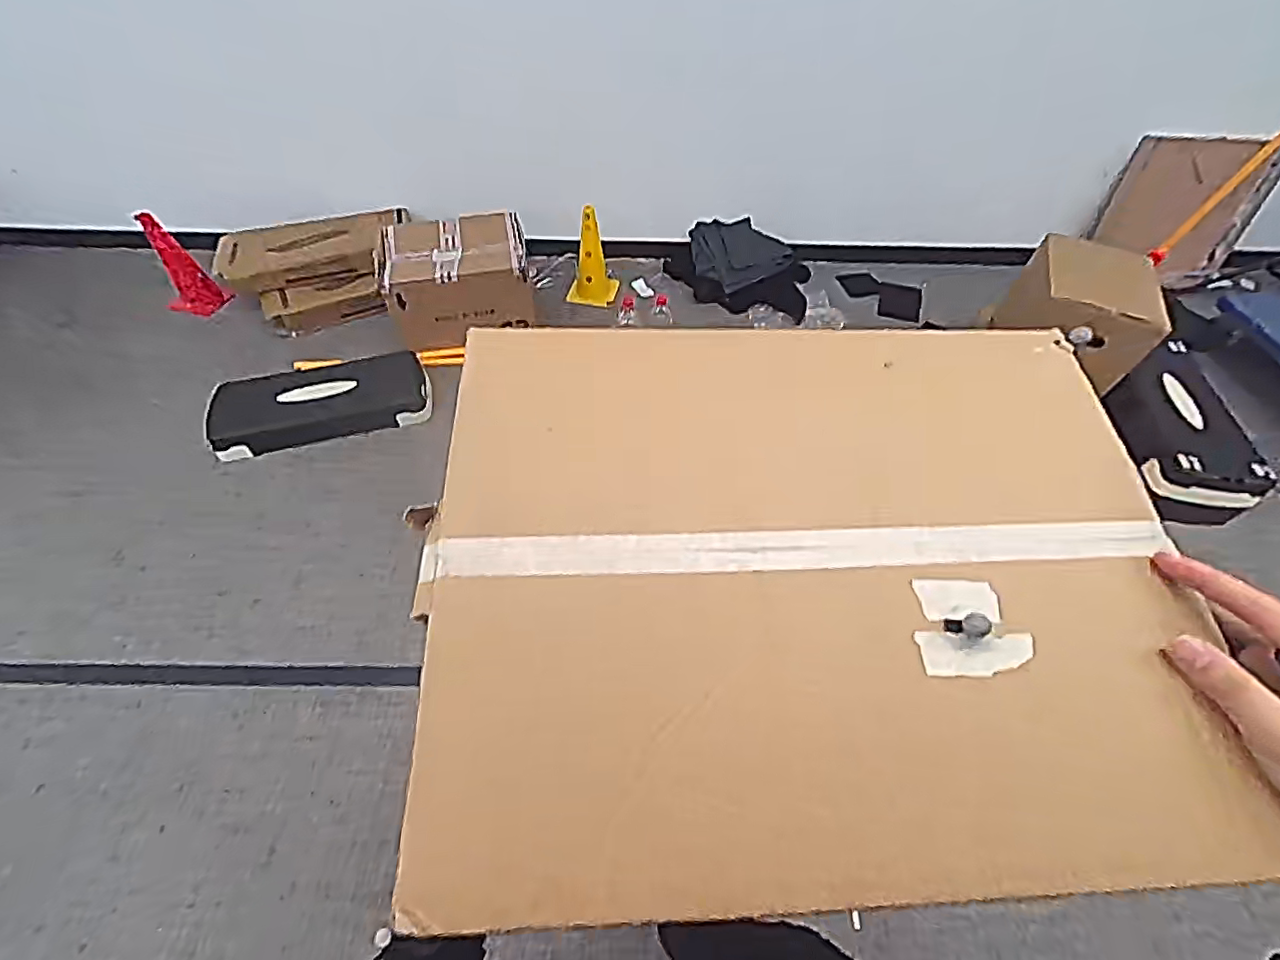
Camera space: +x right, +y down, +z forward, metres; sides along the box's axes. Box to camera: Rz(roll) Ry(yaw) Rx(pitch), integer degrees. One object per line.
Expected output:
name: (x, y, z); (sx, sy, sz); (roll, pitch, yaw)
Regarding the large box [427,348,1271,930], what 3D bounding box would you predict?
large box: (0.086, 0.113, 0.440); (0.408, 0.320, 0.320); (-1, 64, -5)
